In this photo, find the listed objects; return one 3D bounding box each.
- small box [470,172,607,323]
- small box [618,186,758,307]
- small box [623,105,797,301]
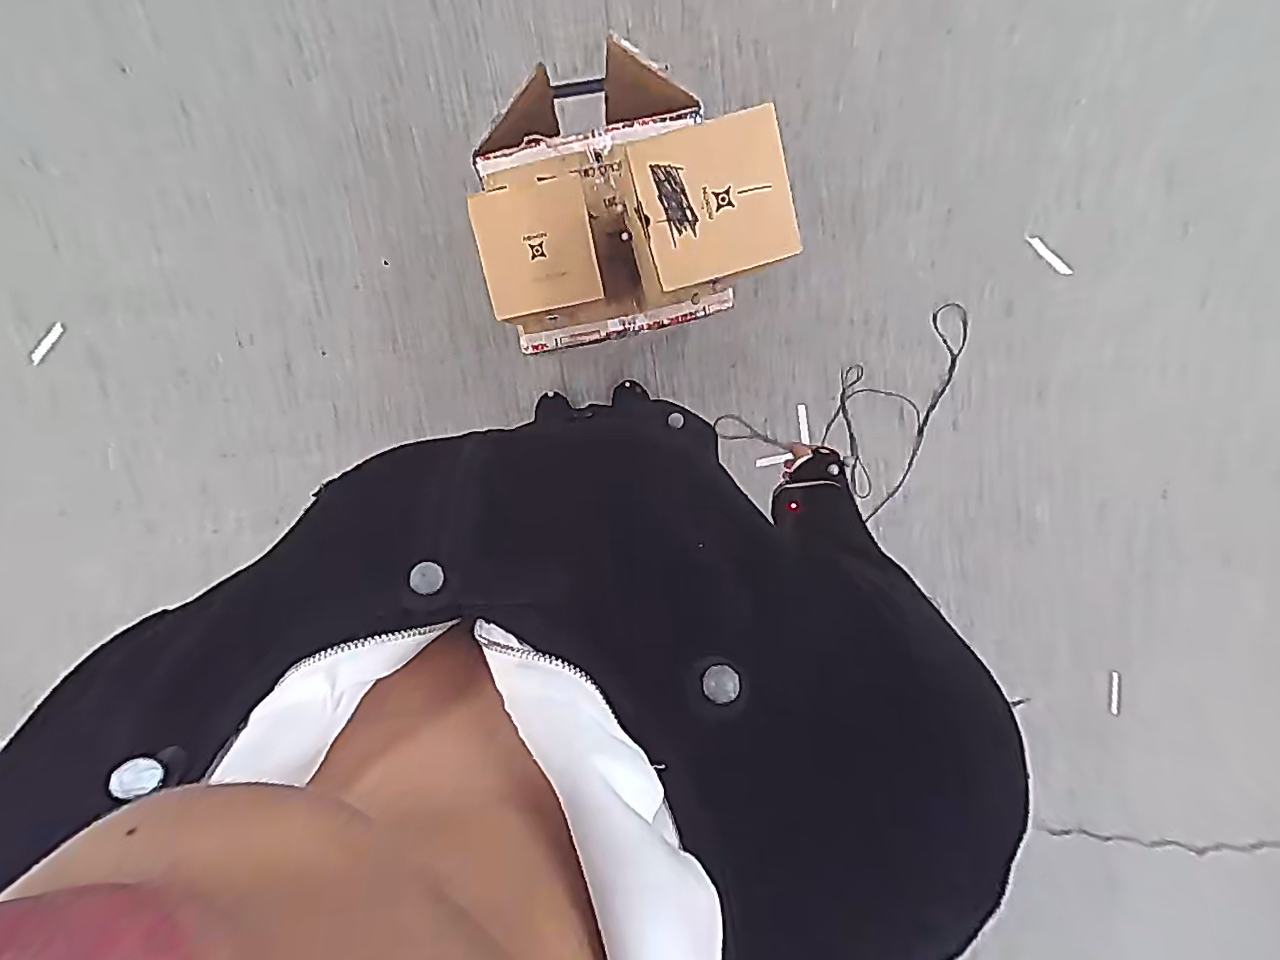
[{"bbox_3d":[-0.150,-0.356,0.860,0.168,0.176,0.179,-12,104,2],"label":"small box"},{"bbox_3d":[0.070,-0.385,0.866,0.179,0.176,0.168,-16,104,-1],"label":"small box"},{"bbox_3d":[0.080,-0.343,0.706,0.179,0.176,0.168,-16,104,0],"label":"small box"}]
